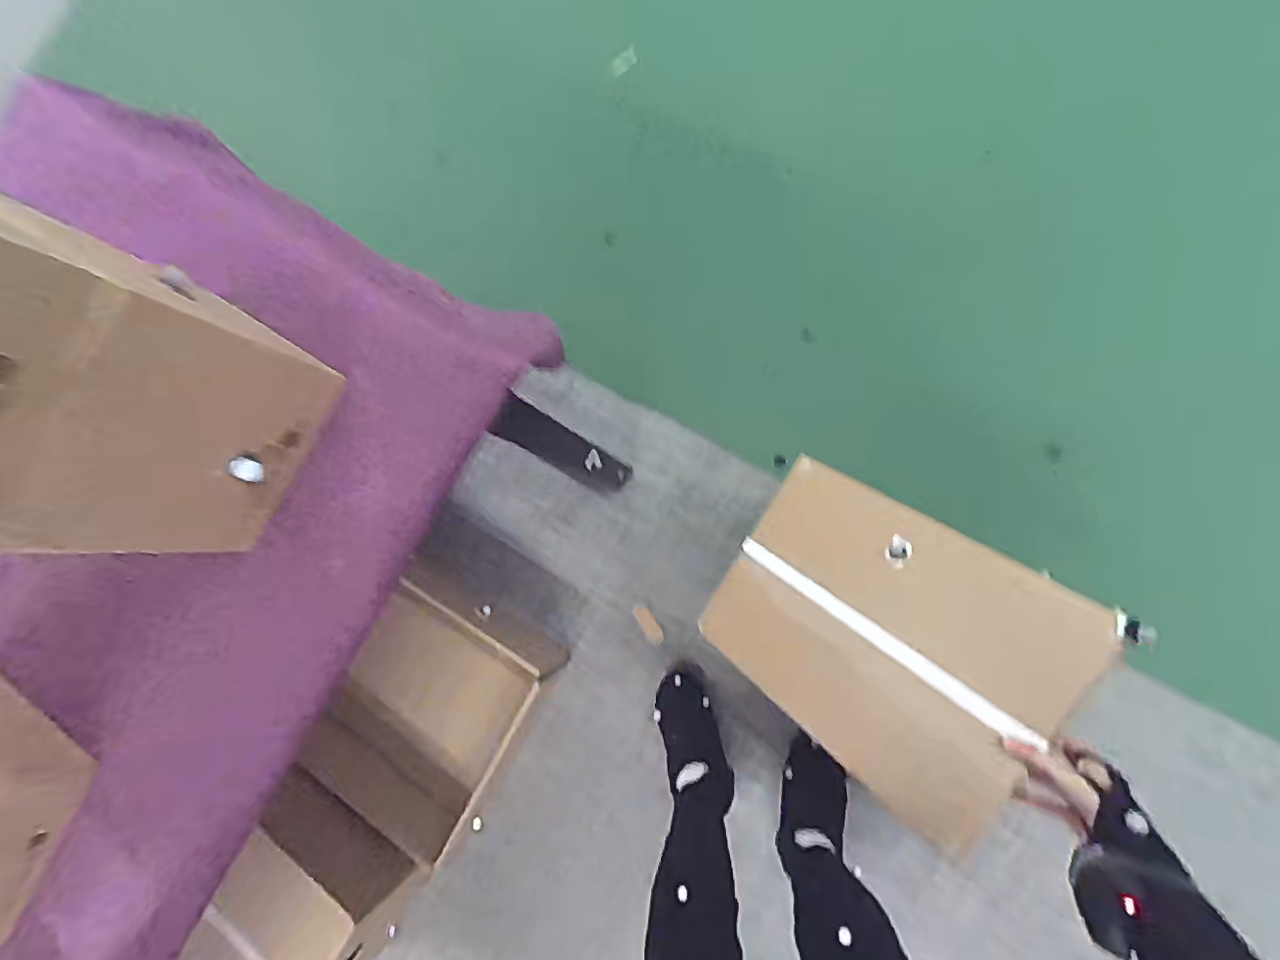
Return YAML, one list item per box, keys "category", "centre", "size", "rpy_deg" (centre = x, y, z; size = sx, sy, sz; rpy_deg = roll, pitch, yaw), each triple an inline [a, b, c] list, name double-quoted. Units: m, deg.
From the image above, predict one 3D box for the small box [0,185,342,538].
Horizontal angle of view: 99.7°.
- category: "small box"
  centre: [-0.366, -0.067, 0.384]
  size: [0.179, 0.176, 0.168]
  rpy_deg: [31, 90, 14]

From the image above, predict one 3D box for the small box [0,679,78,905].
- category: "small box"
  centre: [-0.575, 0.253, 0.382]
  size: [0.179, 0.176, 0.168]
  rpy_deg: [27, 88, 14]
